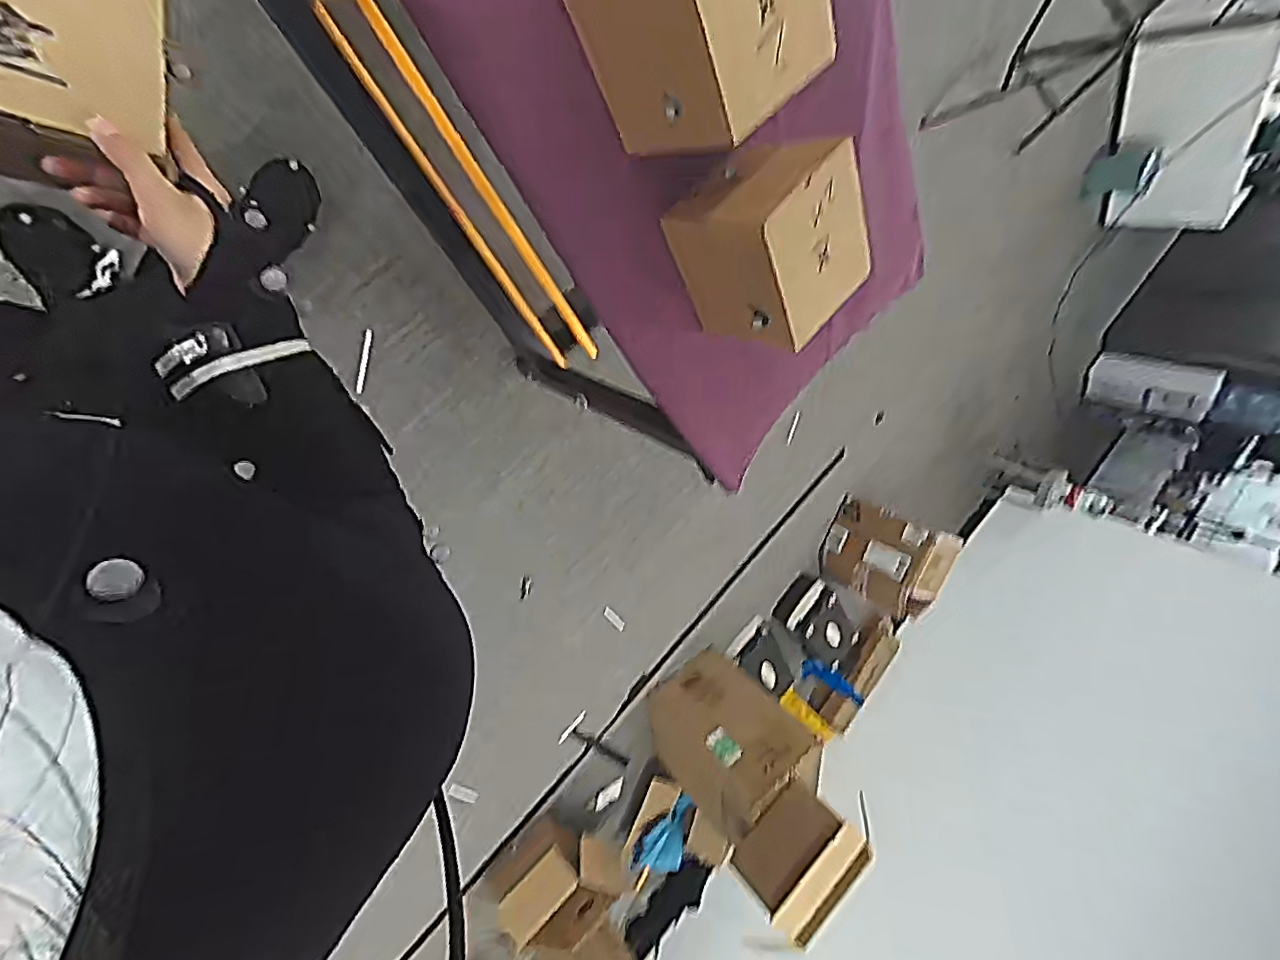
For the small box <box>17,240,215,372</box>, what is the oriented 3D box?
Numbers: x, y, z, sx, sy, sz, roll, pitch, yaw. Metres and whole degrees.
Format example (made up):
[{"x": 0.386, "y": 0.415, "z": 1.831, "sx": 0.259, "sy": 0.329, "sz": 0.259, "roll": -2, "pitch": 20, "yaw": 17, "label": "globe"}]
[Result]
[{"x": -0.831, "y": -0.284, "z": 0.872, "sx": 0.179, "sy": 0.176, "sz": 0.168, "roll": -30, "pitch": 127, "yaw": -29, "label": "small box"}]

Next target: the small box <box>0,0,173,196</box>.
[{"x": -0.411, "y": -0.311, "z": 0.348, "sx": 0.168, "sy": 0.176, "sz": 0.179, "roll": -1, "pitch": 99, "yaw": -42, "label": "small box"}]
